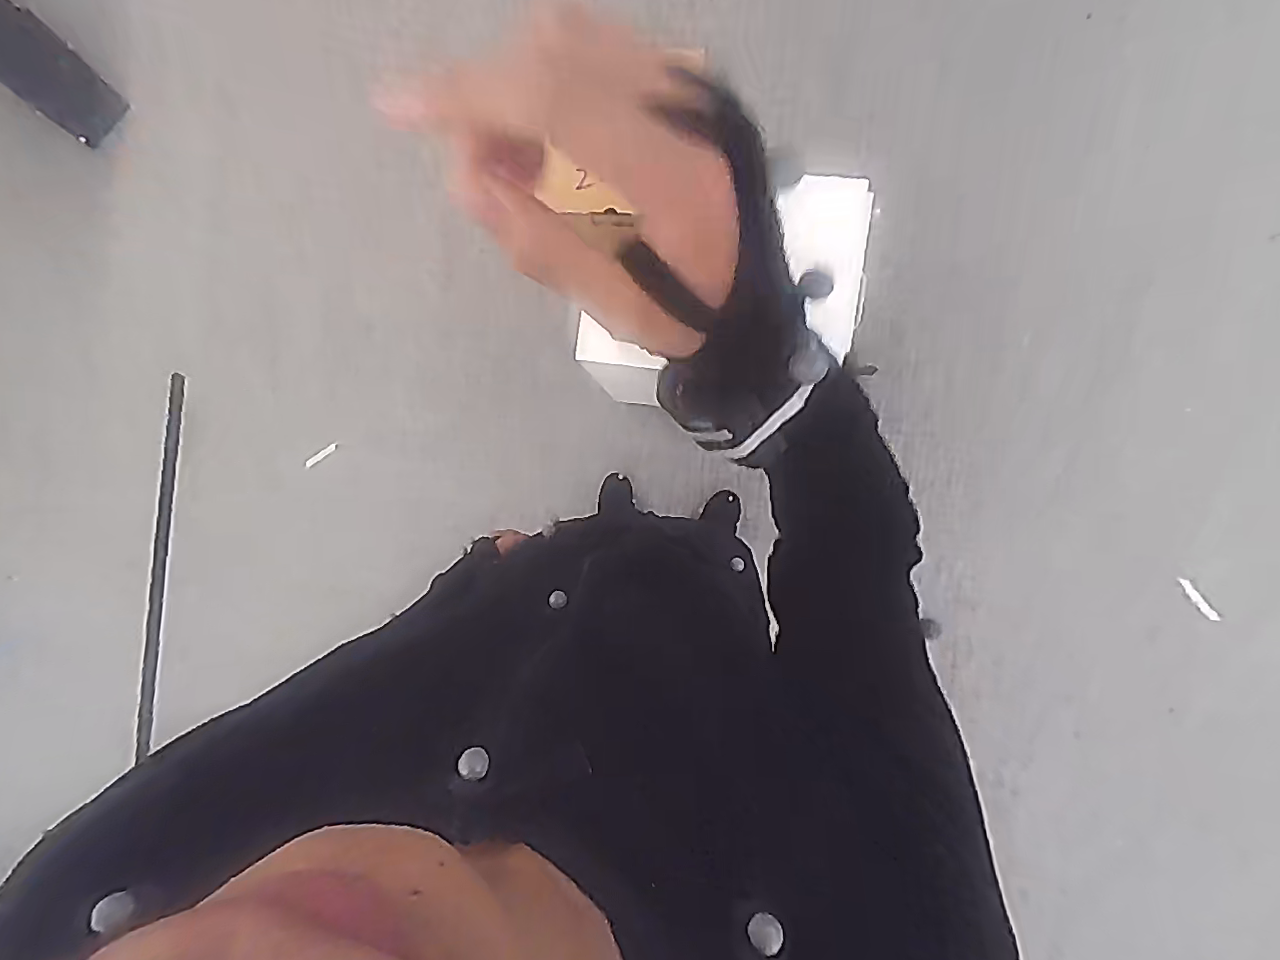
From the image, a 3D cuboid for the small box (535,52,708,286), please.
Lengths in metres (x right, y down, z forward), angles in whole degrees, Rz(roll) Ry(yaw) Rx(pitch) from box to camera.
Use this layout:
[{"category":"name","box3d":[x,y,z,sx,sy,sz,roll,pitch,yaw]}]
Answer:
[{"category":"small box","box3d":[-0.012,-0.348,0.630,0.168,0.176,0.179,5,89,7]}]

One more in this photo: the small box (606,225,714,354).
[{"category":"small box","box3d":[0.033,-0.337,0.956,0.168,0.176,0.179,9,90,6]}]
